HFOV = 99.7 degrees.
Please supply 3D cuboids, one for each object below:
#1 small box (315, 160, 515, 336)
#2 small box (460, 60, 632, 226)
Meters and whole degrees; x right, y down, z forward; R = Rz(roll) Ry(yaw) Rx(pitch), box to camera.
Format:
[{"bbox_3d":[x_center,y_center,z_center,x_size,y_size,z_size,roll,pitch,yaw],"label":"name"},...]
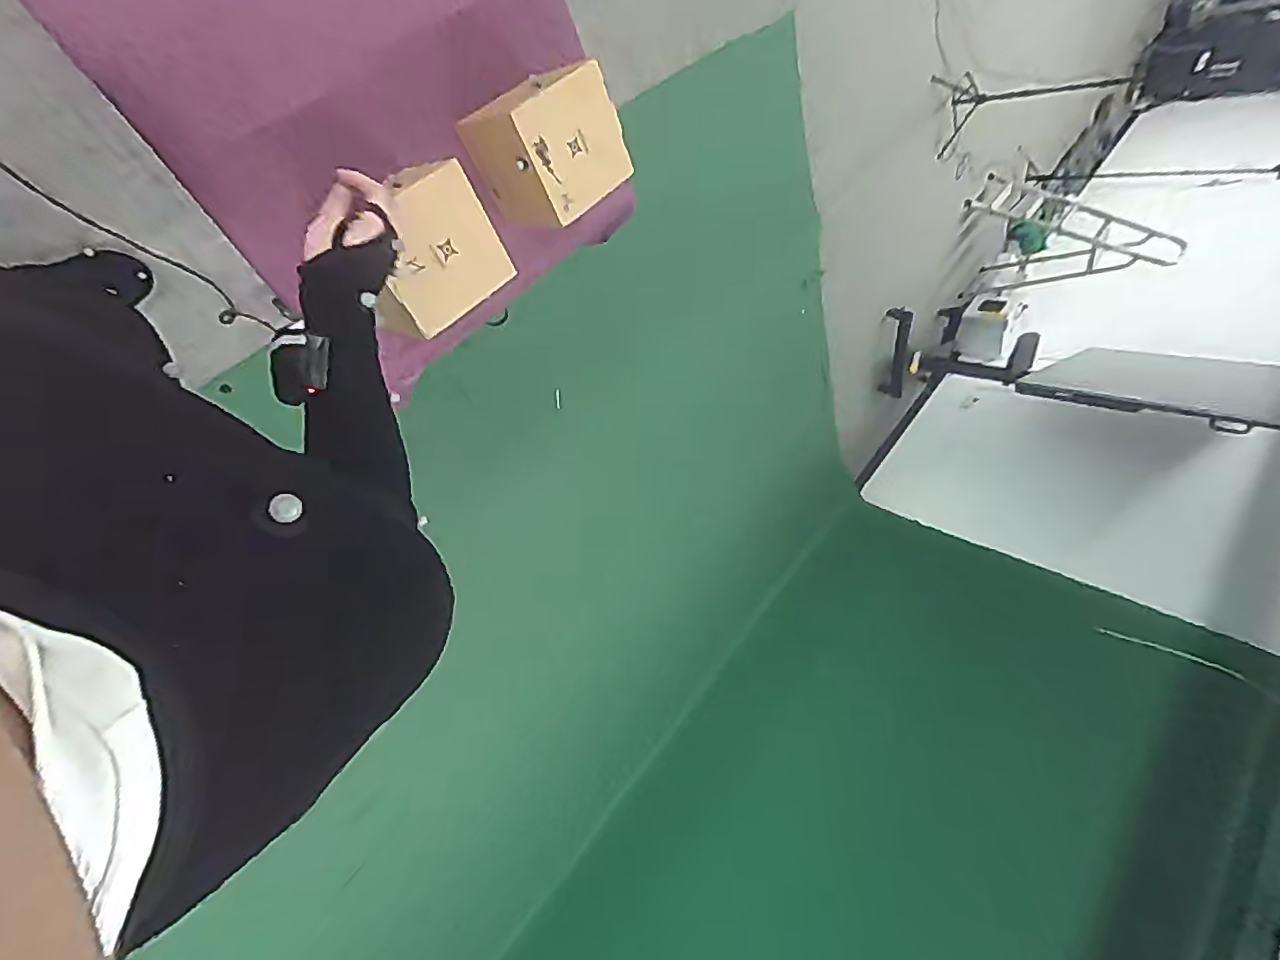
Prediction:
[{"bbox_3d":[-0.322,-0.333,0.777,0.179,0.176,0.168,-46,134,-21],"label":"small box"},{"bbox_3d":[-0.150,-0.531,0.865,0.179,0.176,0.168,-47,135,-20],"label":"small box"}]
